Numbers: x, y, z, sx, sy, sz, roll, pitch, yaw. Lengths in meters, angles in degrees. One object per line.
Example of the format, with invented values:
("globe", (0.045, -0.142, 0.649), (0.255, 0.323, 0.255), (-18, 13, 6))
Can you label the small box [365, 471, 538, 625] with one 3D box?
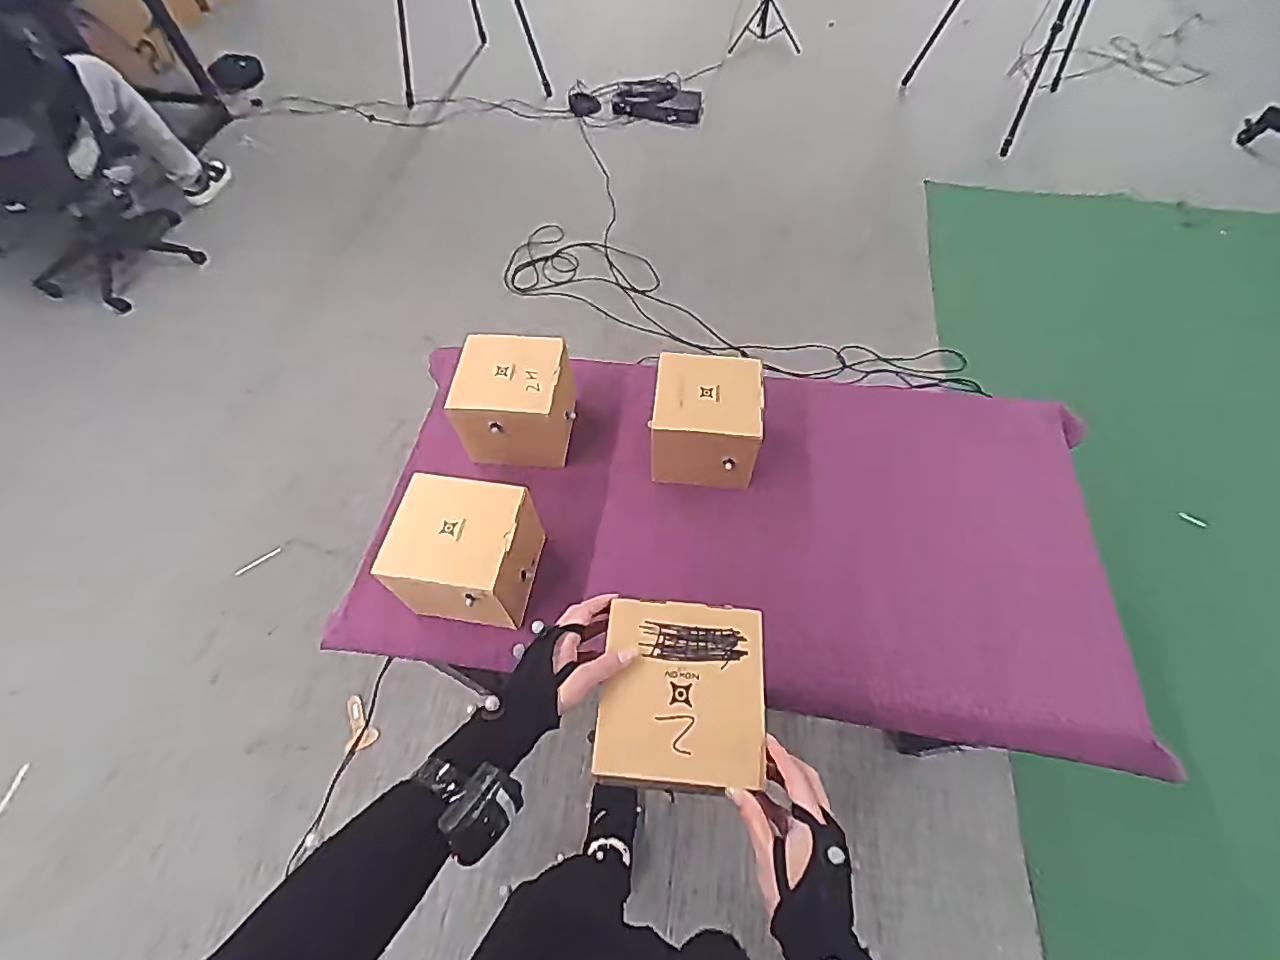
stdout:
("small box", (-0.268, 0.108, 0.819), (0.179, 0.176, 0.168), (8, 58, 5))

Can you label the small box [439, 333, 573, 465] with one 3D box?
("small box", (-0.226, -0.140, 0.963), (0.179, 0.176, 0.168), (4, 60, 3))

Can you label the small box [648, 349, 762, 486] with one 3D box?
("small box", (0.109, -0.102, 0.937), (0.179, 0.176, 0.168), (5, 60, 5))
